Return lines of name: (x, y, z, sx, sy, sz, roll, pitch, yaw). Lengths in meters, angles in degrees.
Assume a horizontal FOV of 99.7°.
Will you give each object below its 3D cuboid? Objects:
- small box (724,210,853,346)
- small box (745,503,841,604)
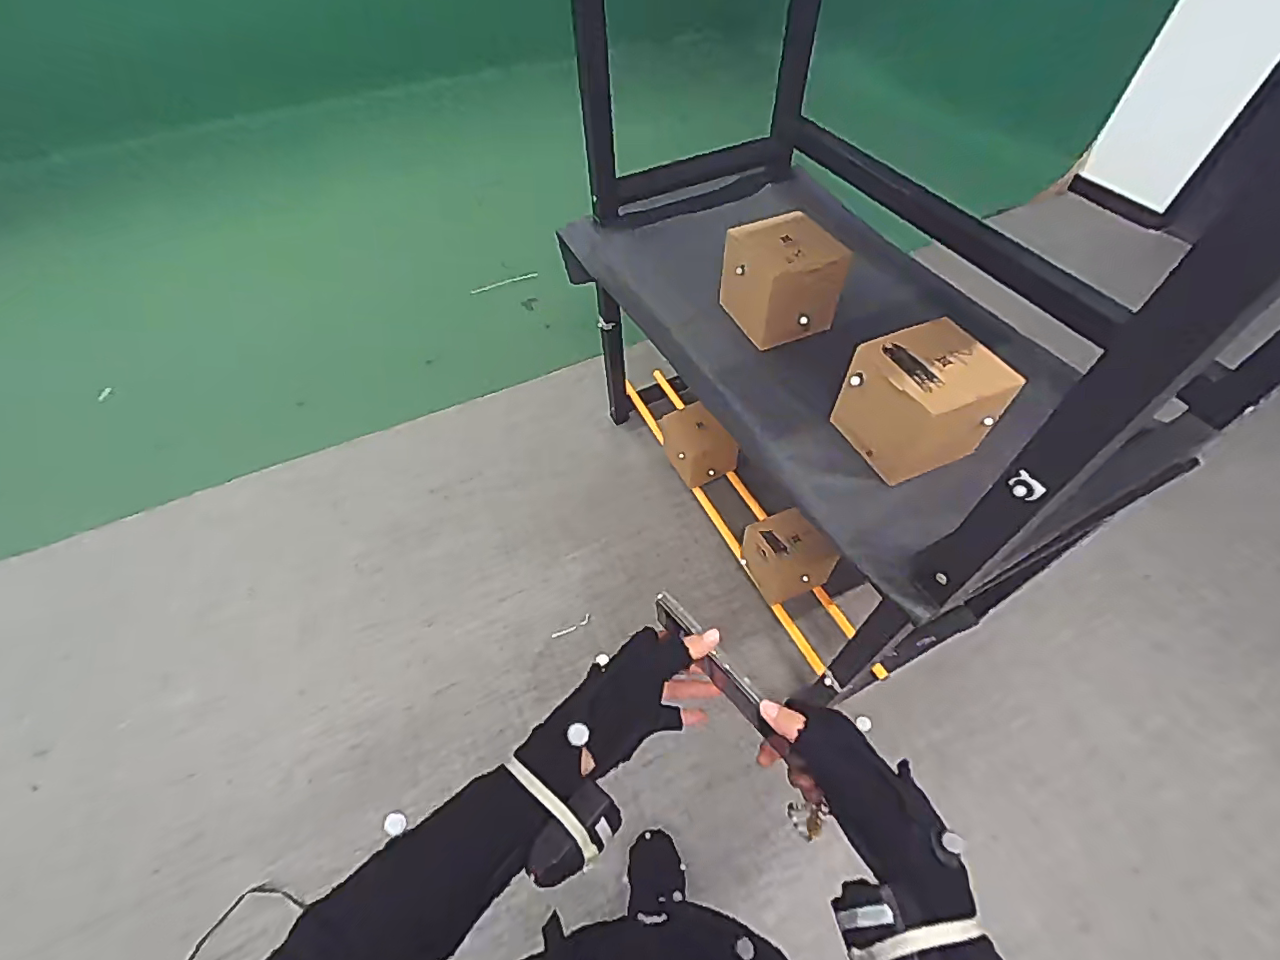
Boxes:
small box: (0.278, -0.395, 1.061, 0.168, 0.176, 0.179, -20, 55, -12)
small box: (0.383, 0.195, 1.398, 0.179, 0.176, 0.168, -20, 56, -11)
